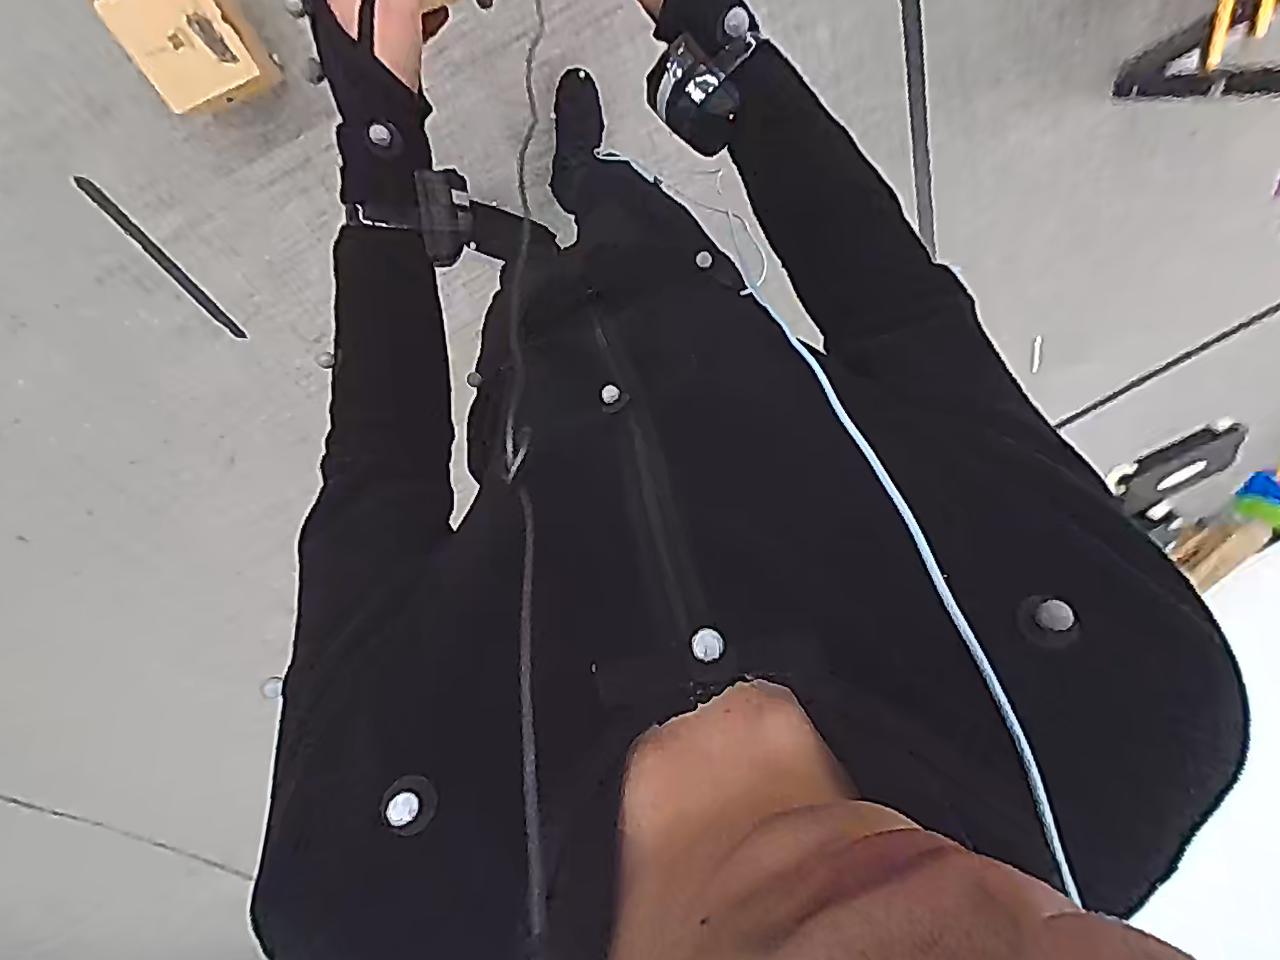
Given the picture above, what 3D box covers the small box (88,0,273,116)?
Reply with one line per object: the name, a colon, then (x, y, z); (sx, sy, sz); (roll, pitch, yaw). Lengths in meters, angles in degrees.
small box: (-0.806, -0.789, 0.978); (0.179, 0.176, 0.168); (-26, 127, 1)
